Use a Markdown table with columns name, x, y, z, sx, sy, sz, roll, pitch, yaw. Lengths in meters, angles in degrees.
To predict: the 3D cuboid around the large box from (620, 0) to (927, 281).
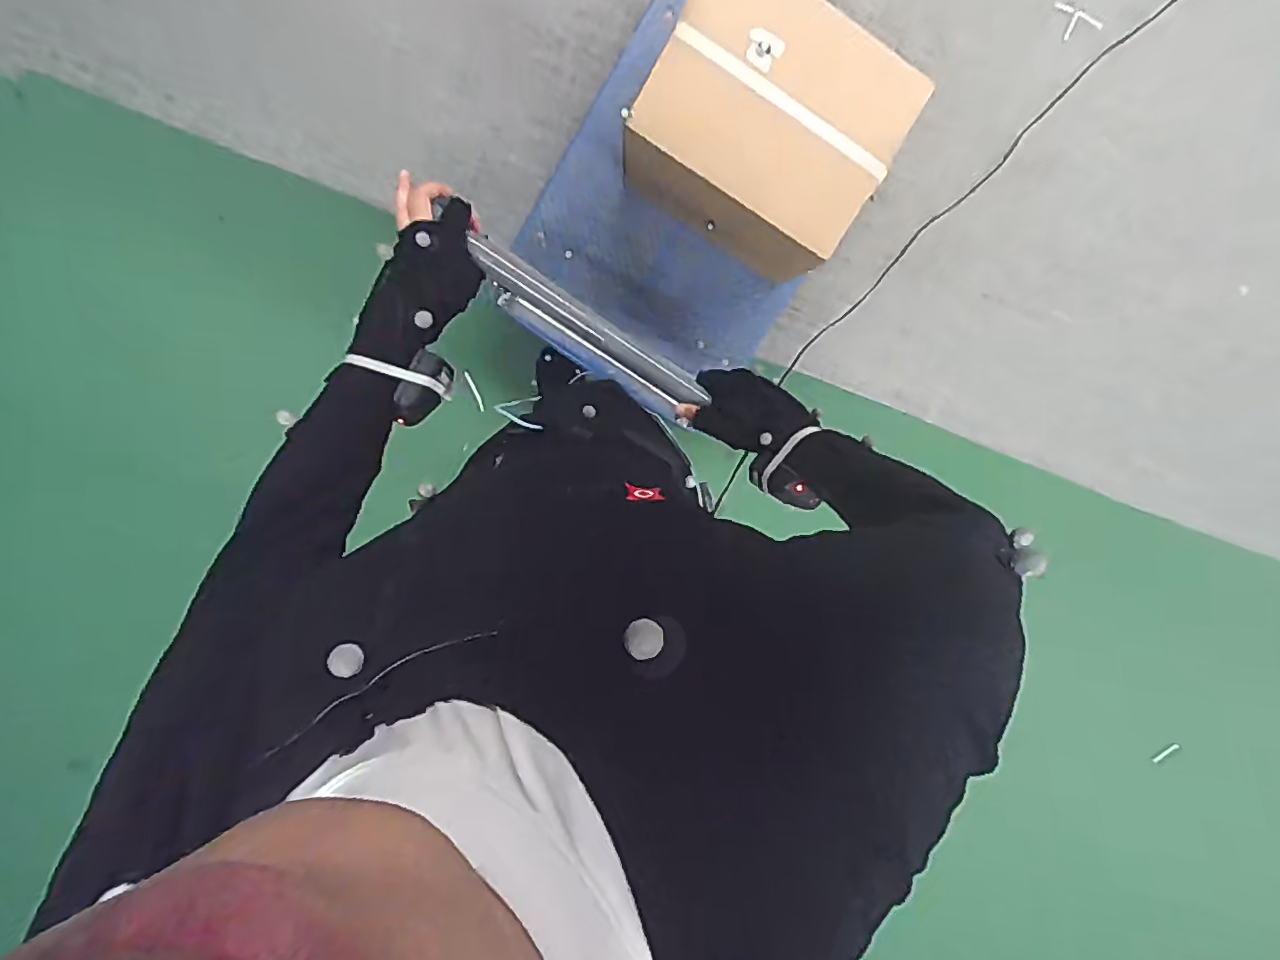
| name | x | y | z | sx | sy | sz | roll | pitch | yaw |
| --- | --- | --- | --- | --- | --- | --- | --- | --- | --- |
| large box | 0.214 | -0.628 | 1.009 | 0.408 | 0.320 | 0.320 | 31 | 99 | -7 |
